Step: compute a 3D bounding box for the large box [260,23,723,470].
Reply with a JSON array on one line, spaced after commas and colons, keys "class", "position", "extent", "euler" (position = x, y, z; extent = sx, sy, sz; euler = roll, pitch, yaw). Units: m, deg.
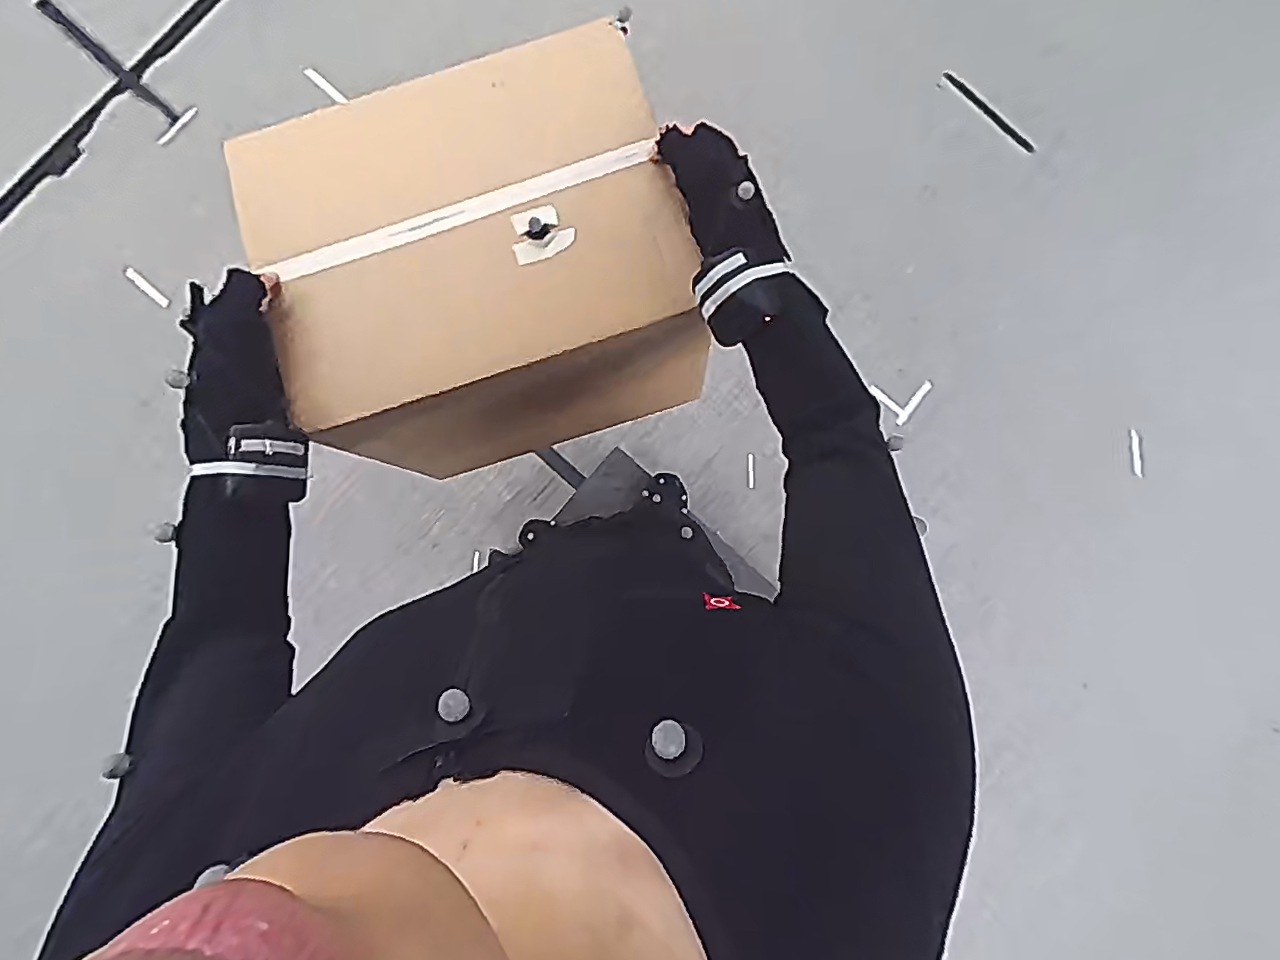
[{"class": "large box", "position": [-0.147, -0.235, 0.669], "extent": [0.408, 0.320, 0.320], "euler": [-17, 82, 1]}]

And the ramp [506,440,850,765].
[{"class": "ramp", "position": [0.153, 0.383, 1.588], "extent": [0.991, 0.206, 0.509], "euler": [39, 85, -2]}]
